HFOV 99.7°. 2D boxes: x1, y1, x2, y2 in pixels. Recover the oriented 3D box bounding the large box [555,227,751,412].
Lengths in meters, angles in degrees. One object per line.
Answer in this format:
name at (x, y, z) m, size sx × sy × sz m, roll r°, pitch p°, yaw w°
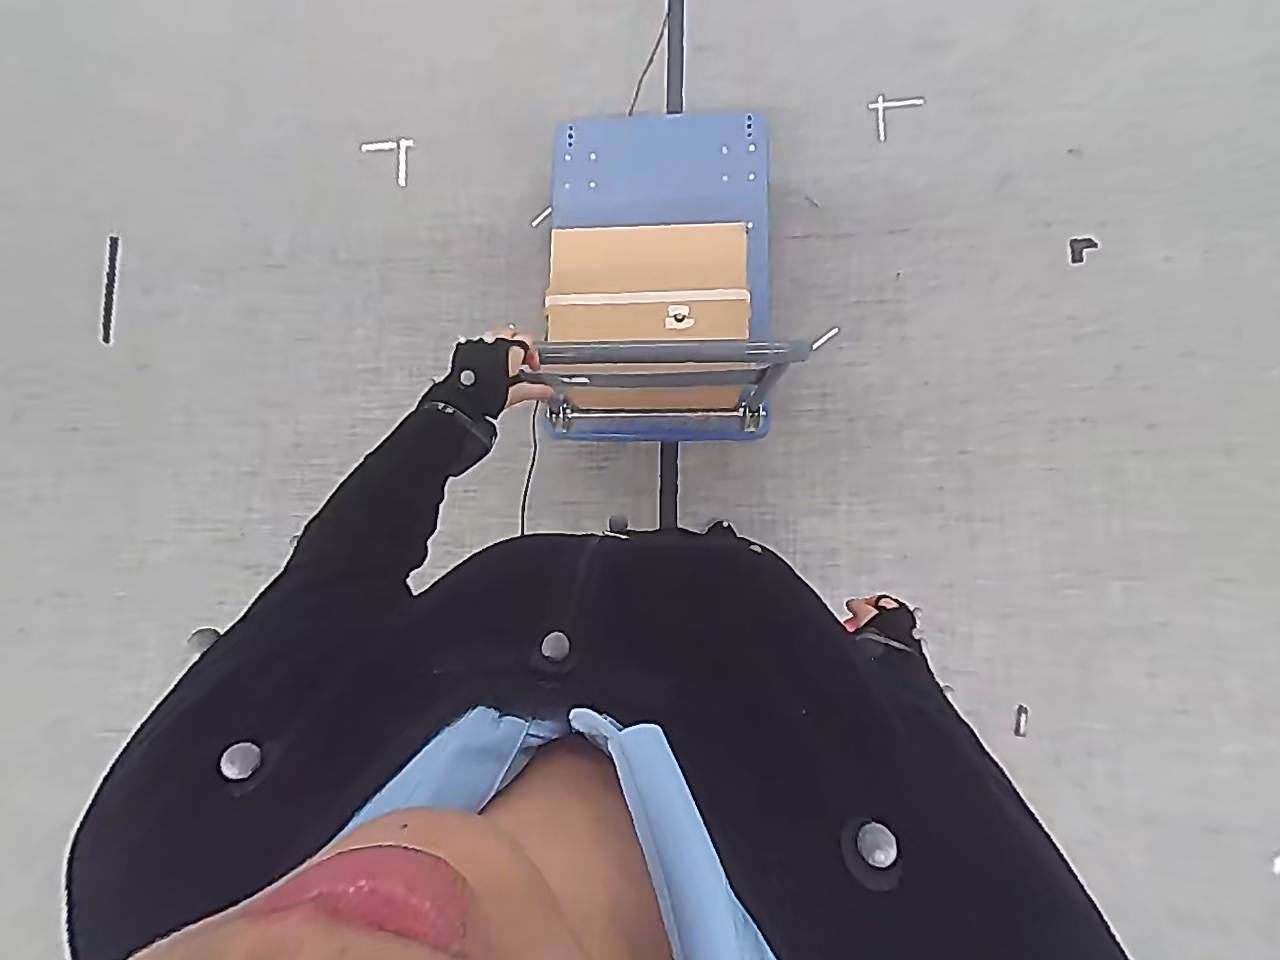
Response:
large box at (0.032, -0.347, 1.254) m, size 0.408 × 0.320 × 0.320 m, roll 0°, pitch 84°, yaw 5°
